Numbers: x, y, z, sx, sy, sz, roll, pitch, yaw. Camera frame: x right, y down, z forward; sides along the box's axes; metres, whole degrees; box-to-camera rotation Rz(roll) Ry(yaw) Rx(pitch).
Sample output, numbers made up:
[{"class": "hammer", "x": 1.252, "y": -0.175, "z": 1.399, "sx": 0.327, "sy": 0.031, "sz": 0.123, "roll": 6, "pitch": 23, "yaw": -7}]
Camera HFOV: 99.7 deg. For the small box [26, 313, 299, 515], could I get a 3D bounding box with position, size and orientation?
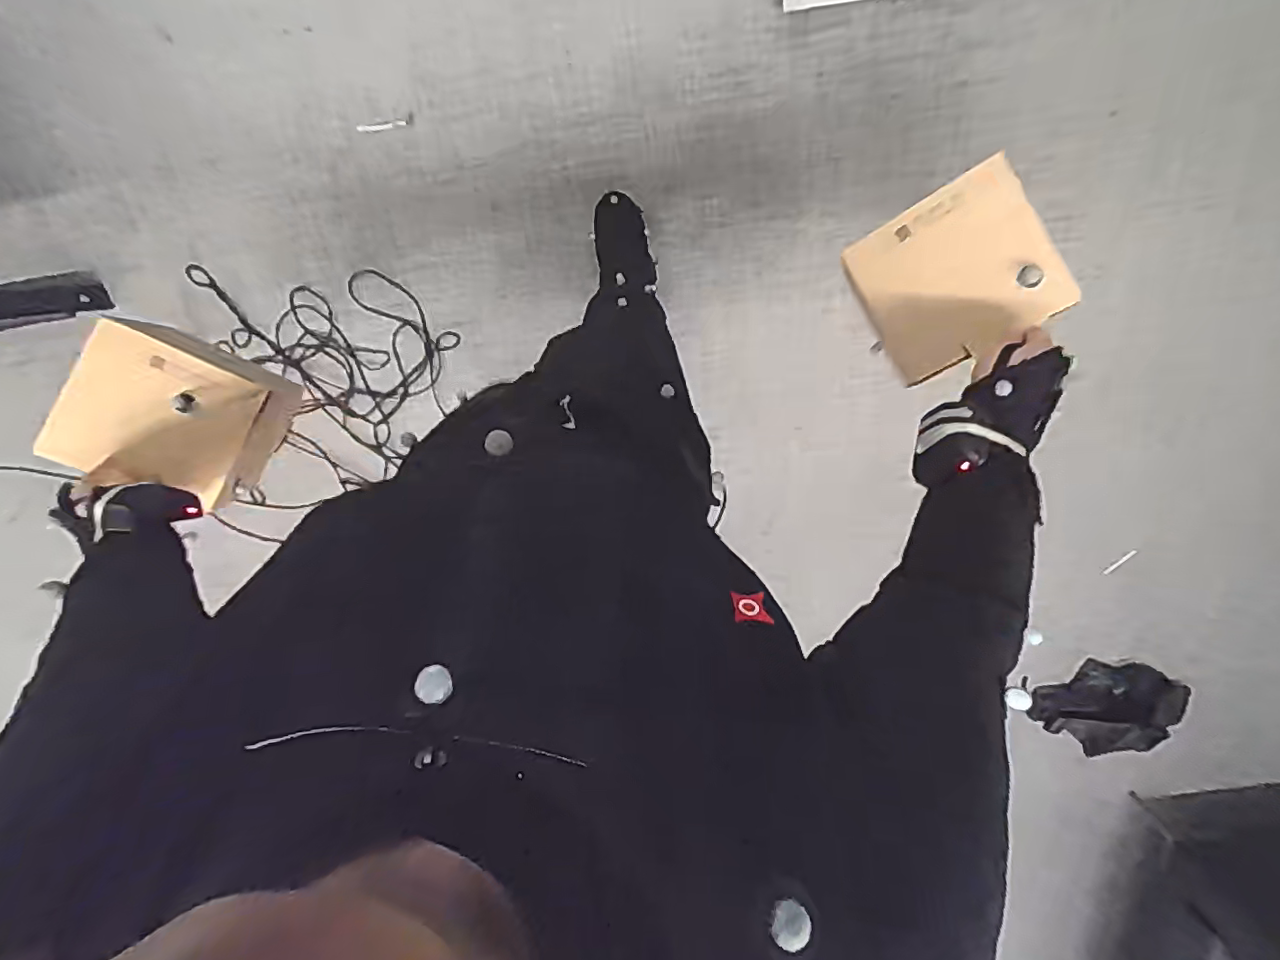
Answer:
[{"class": "small box", "x": -0.551, "y": -0.083, "z": 0.658, "sx": 0.168, "sy": 0.179, "sz": 0.176, "roll": 28, "pitch": 90, "yaw": -23}]
